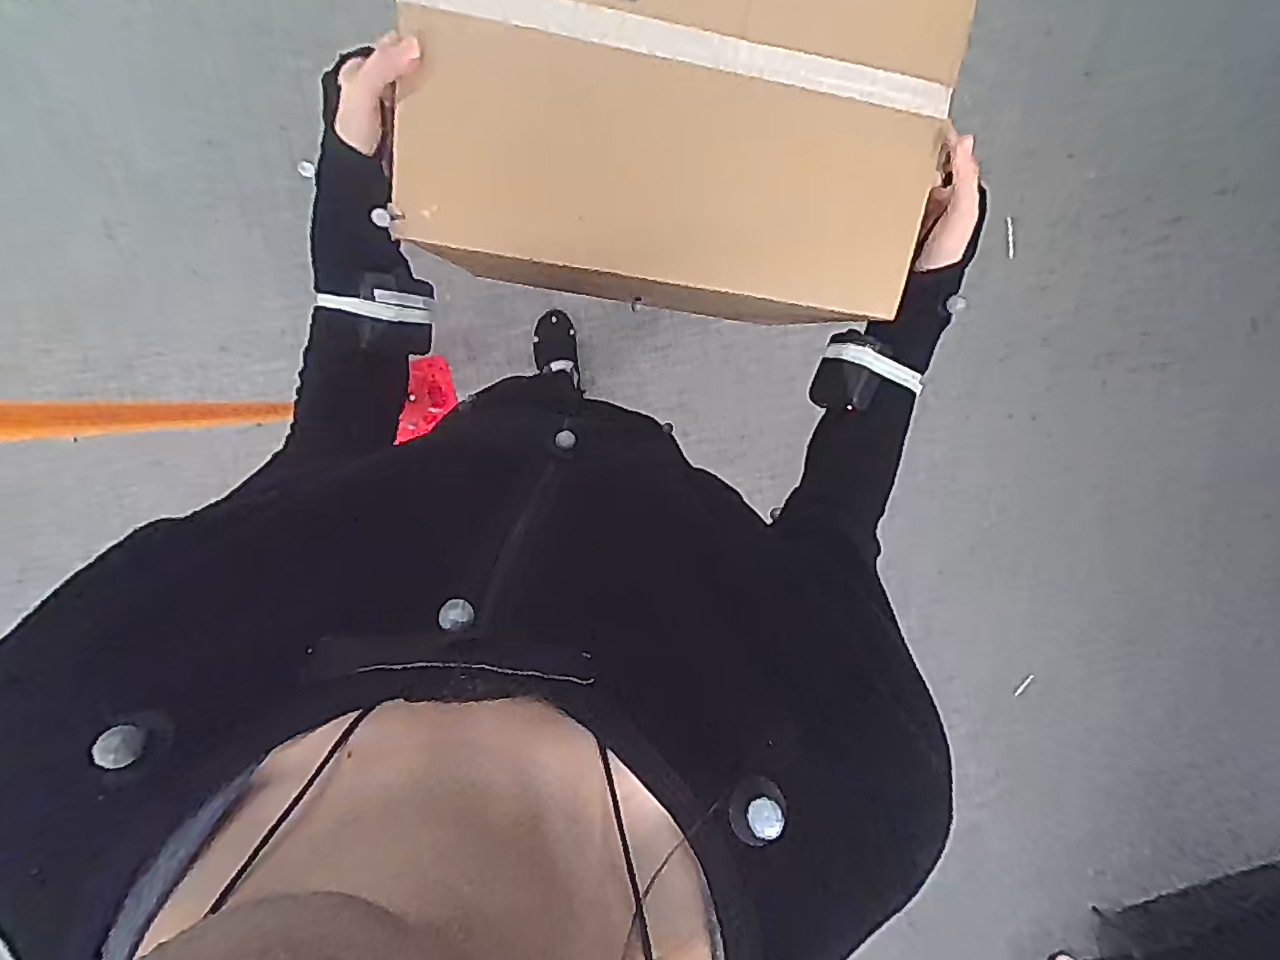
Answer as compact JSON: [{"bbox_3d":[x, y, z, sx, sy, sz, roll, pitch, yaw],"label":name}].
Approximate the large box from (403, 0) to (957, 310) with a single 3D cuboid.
[{"bbox_3d":[0.021,-0.356,0.545,0.408,0.320,0.320,7,105,-7],"label":"large box"}]
